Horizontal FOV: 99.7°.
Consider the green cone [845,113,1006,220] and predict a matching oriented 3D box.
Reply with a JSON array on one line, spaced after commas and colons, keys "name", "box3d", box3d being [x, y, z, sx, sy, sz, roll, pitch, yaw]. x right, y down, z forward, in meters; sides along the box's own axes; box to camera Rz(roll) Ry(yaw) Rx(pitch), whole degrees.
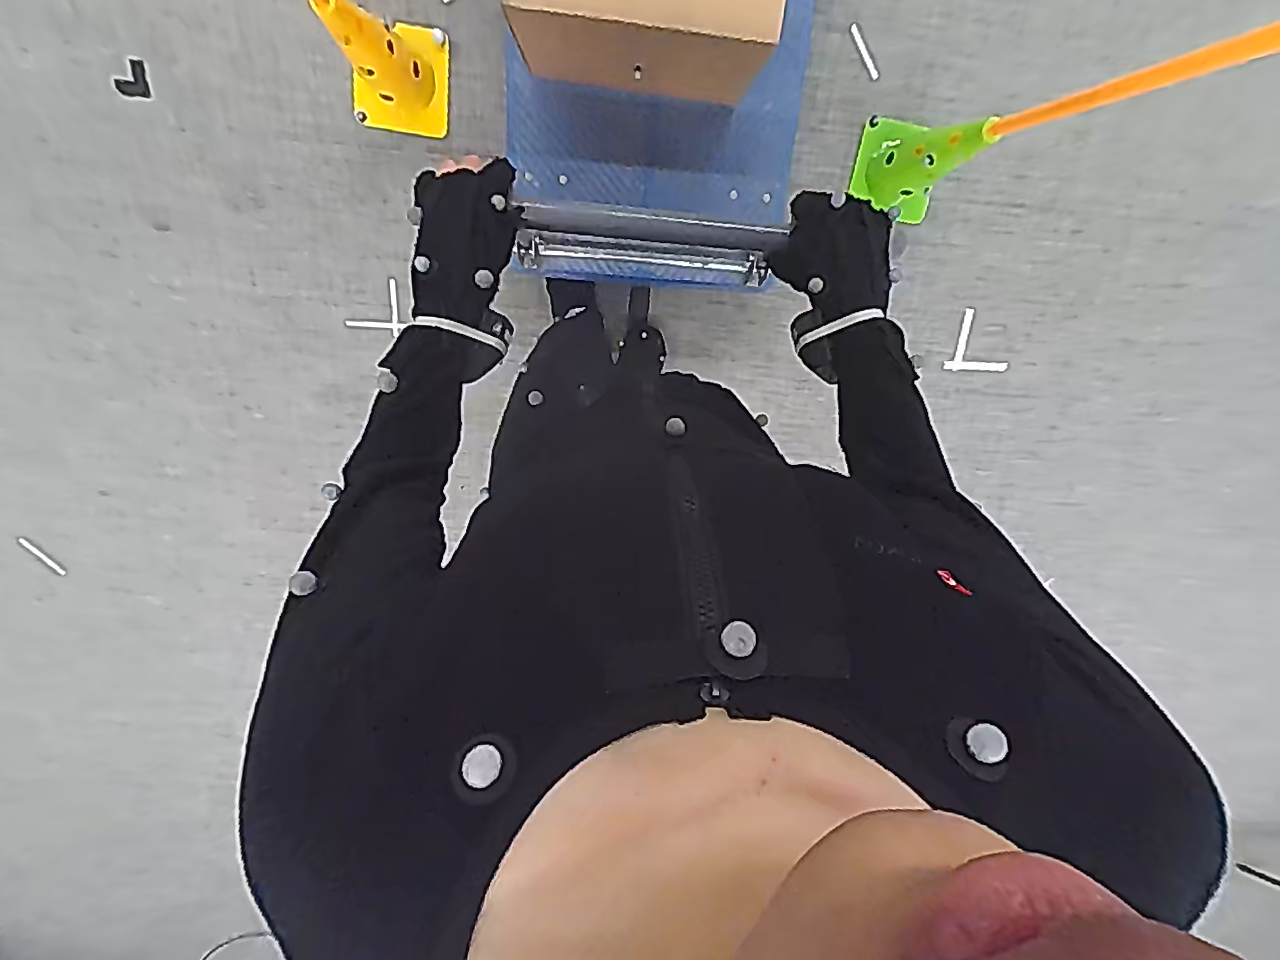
[{"name": "green cone", "box3d": [0.610, -0.679, 1.118, 0.202, 0.368, 0.200, 7, 110, -7]}]

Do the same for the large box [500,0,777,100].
[{"name": "large box", "box3d": [0.008, -0.853, 0.874, 0.408, 0.320, 0.320, 5, 110, -4]}]
